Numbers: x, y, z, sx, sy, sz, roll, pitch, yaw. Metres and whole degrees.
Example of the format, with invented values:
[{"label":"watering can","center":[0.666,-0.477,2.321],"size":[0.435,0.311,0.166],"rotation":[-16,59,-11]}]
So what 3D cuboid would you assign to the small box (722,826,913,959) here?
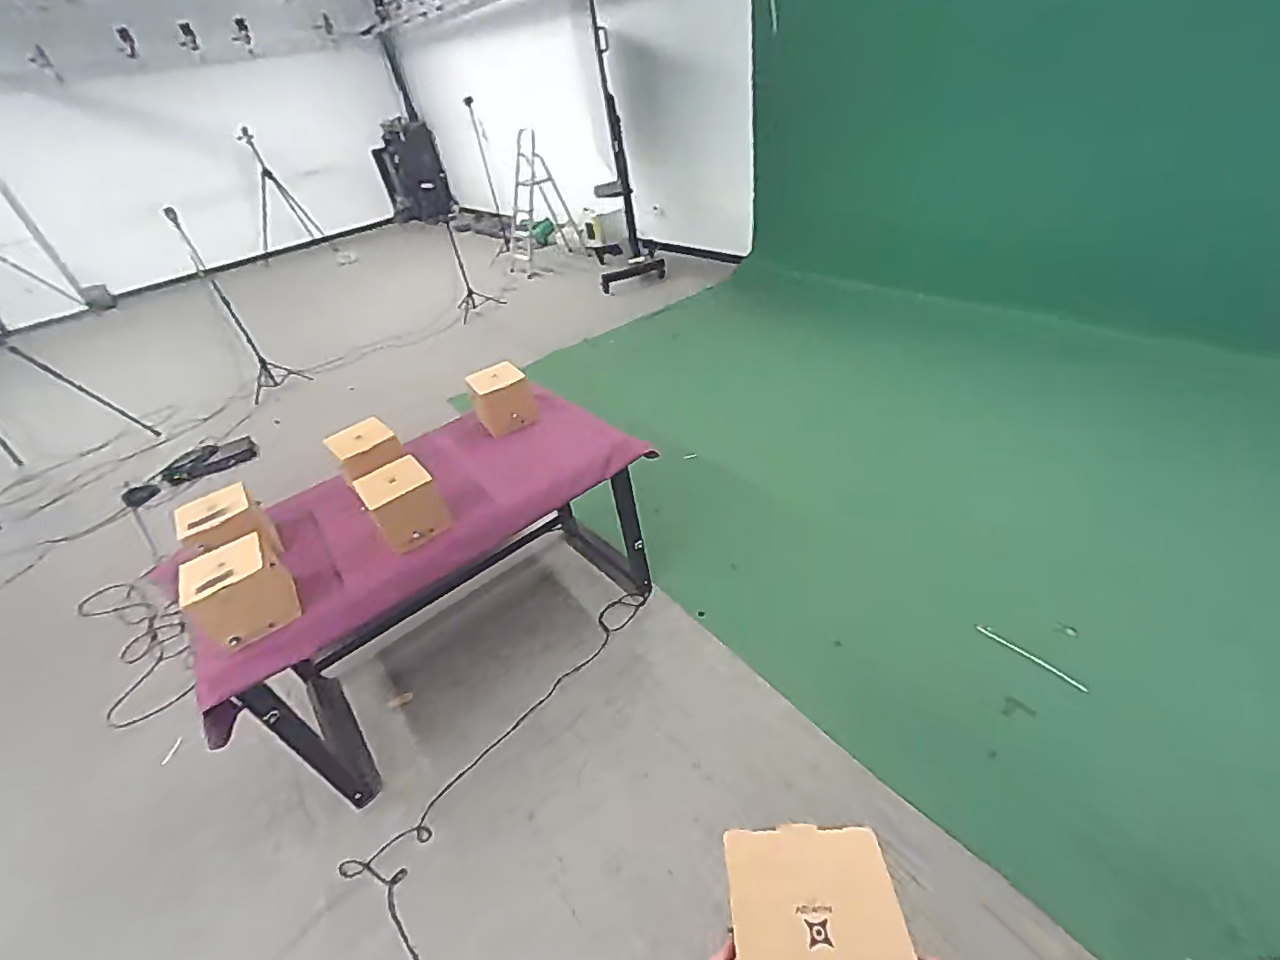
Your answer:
[{"label":"small box","center":[0.176,0.497,0.564],"size":[0.168,0.176,0.179],"rotation":[-4,30,3]}]

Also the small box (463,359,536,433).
[{"label":"small box","center":[-0.475,-0.284,1.834],"size":[0.168,0.176,0.179],"rotation":[-28,42,-20]}]

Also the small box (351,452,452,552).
[{"label":"small box","center":[-0.631,0.059,1.436],"size":[0.168,0.176,0.179],"rotation":[-32,42,-25]}]

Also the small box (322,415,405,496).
[{"label":"small box","center":[-0.825,-0.070,1.644],"size":[0.168,0.176,0.179],"rotation":[-35,45,-29]}]

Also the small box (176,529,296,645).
[{"label":"small box","center":[-0.928,0.252,1.251],"size":[0.168,0.176,0.179],"rotation":[-29,40,-24]}]
